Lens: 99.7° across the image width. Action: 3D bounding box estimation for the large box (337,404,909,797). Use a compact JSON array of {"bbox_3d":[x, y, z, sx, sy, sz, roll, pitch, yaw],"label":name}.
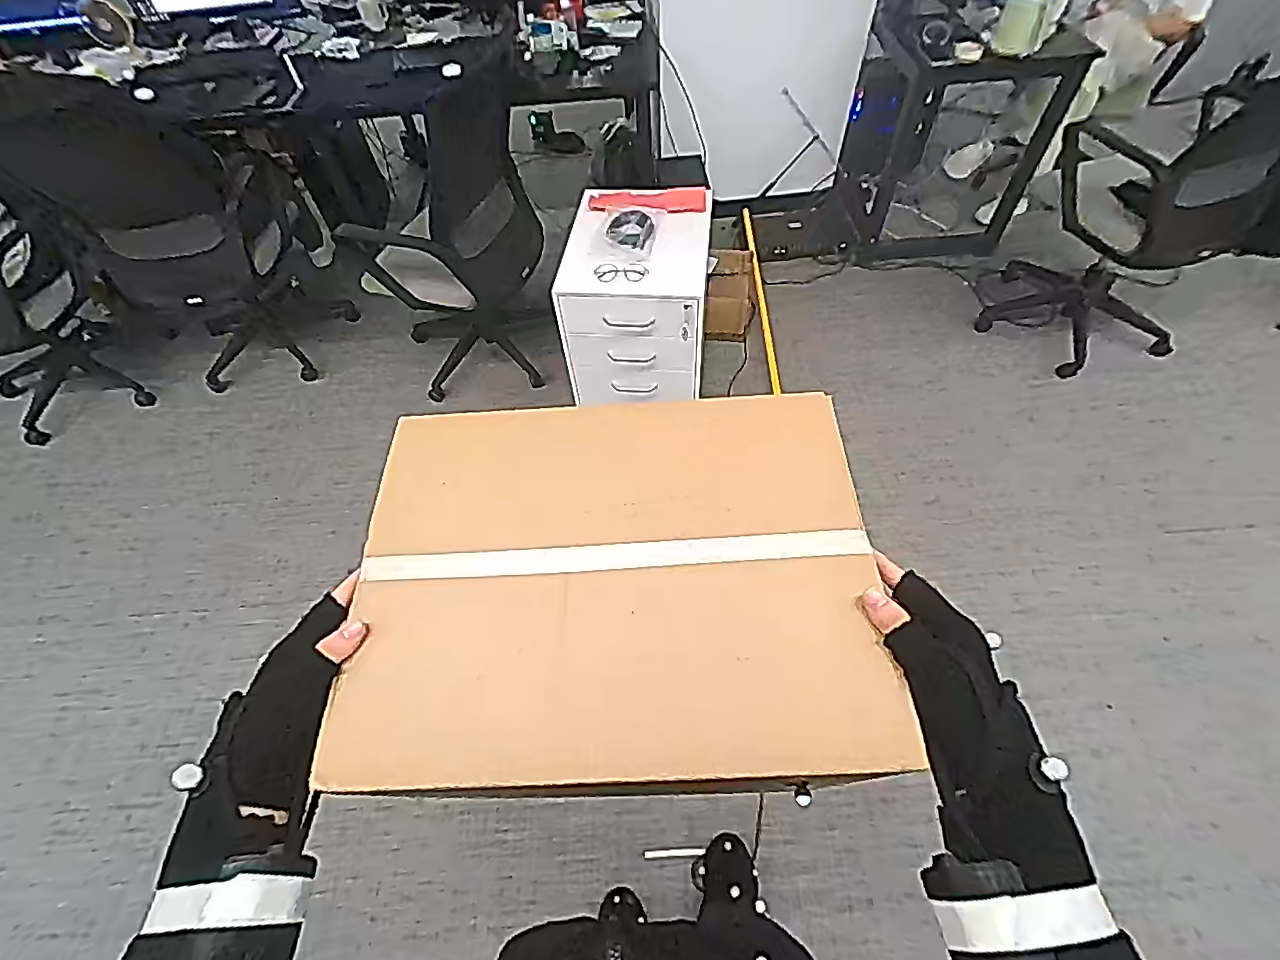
[{"bbox_3d":[-0.010,0.148,0.571,0.408,0.320,0.320,-4,58,2],"label":"large box"}]
